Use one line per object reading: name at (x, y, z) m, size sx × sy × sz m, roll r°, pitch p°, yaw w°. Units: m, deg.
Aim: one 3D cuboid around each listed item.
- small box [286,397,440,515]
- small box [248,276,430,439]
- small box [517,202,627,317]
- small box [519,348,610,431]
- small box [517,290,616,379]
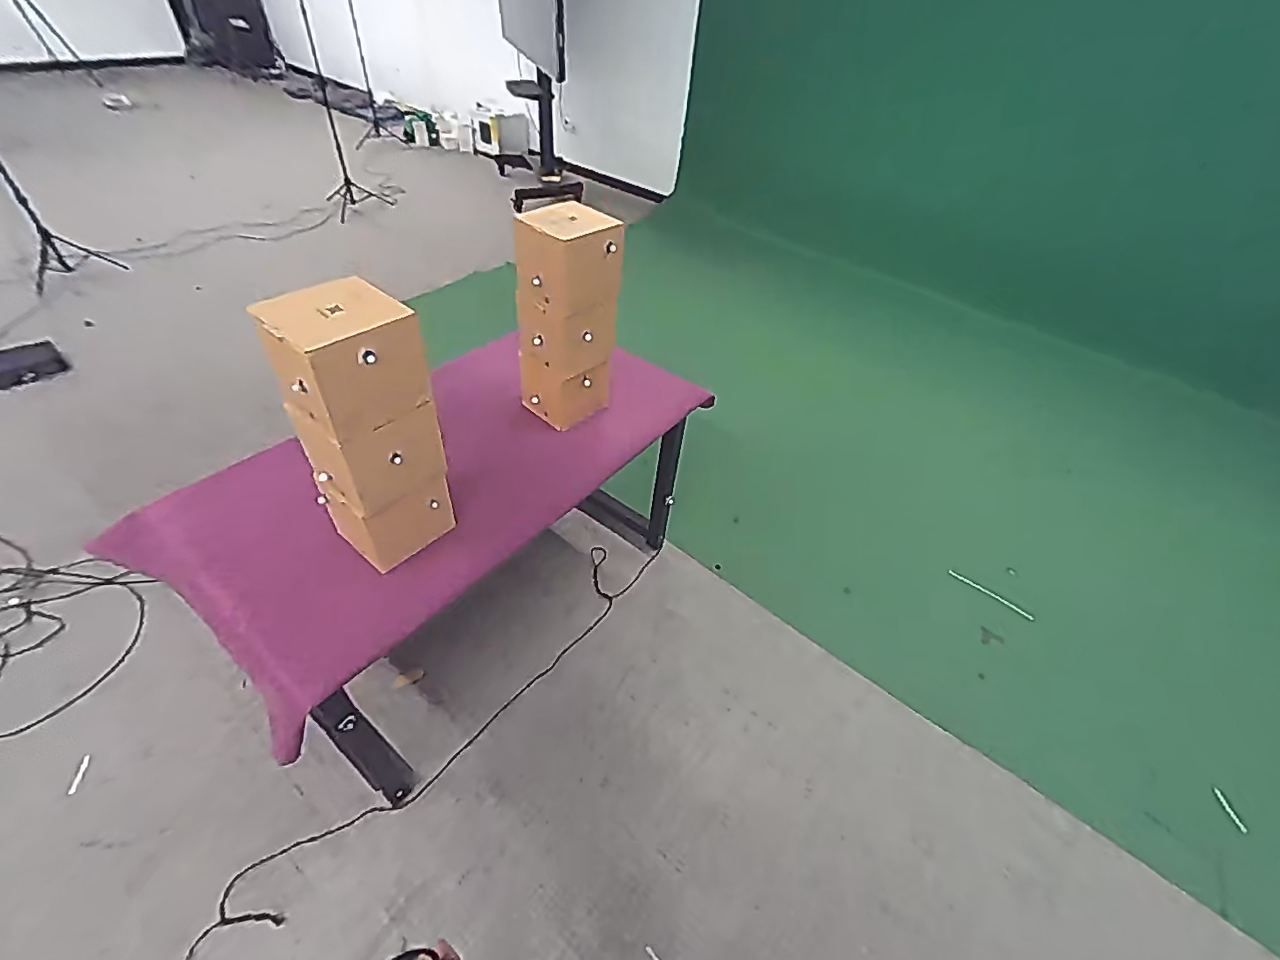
small box at (-0.477, -0.073, 0.960) m, size 0.168 × 0.176 × 0.179 m, roll 32°, pitch 49°, yaw 22°
small box at (-0.458, -0.193, 0.851) m, size 0.168 × 0.176 × 0.179 m, roll 33°, pitch 48°, yaw 23°
small box at (-0.152, -0.489, 1.199) m, size 0.168 × 0.176 × 0.179 m, roll 36°, pitch 52°, yaw 26°
small box at (-0.201, -0.262, 1.433) m, size 0.168 × 0.176 × 0.179 m, roll 37°, pitch 52°, yaw 25°
small box at (-0.176, -0.372, 1.314) m, size 0.168 × 0.176 × 0.179 m, roll 37°, pitch 52°, yaw 25°
